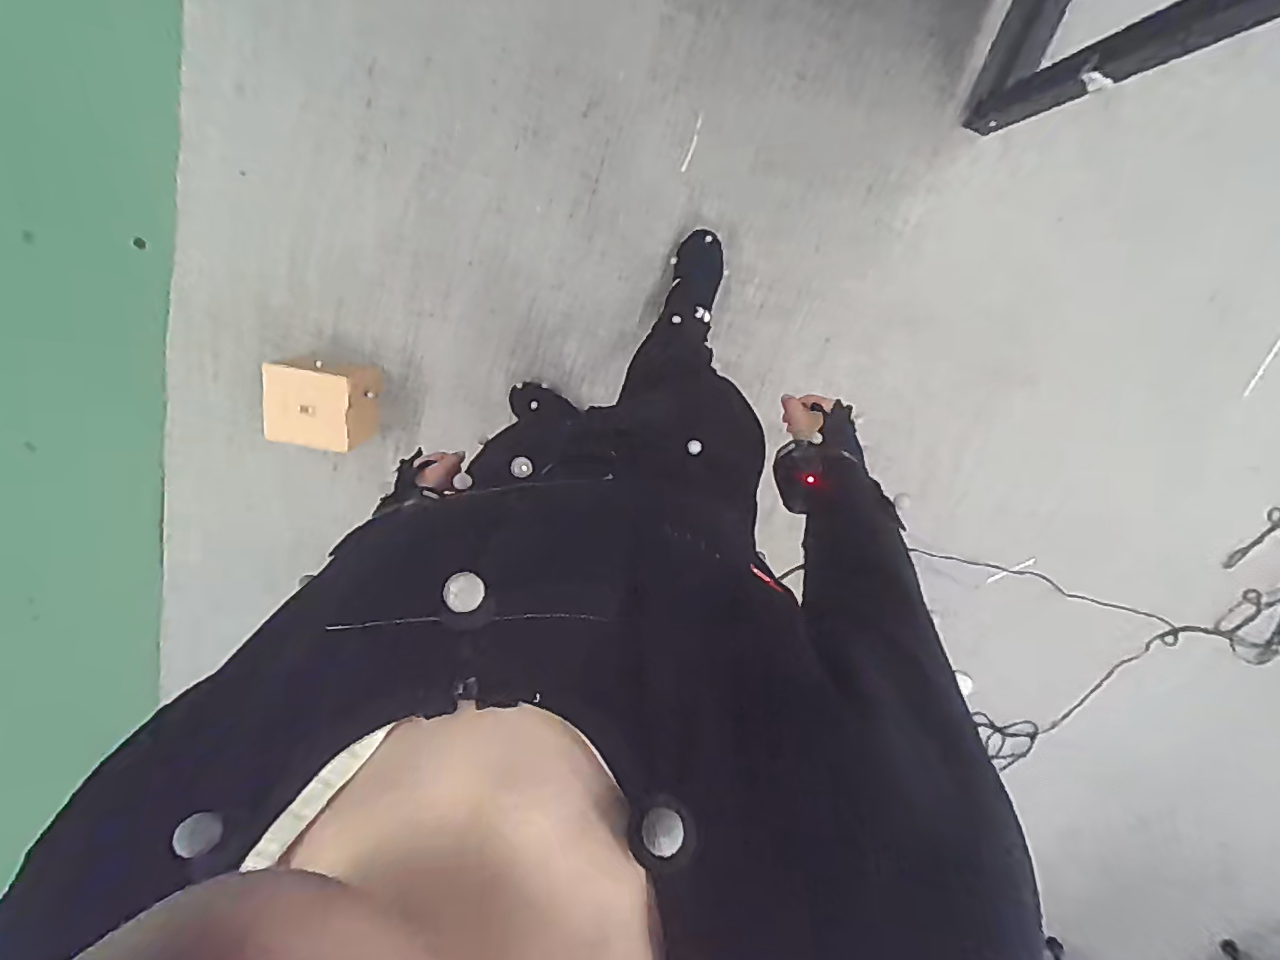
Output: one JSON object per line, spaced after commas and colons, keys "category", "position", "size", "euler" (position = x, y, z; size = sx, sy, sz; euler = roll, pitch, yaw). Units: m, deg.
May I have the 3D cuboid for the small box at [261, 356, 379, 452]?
{"category": "small box", "position": [-0.701, -0.174, 1.205], "size": [0.179, 0.176, 0.168], "euler": [10, 108, -5]}
